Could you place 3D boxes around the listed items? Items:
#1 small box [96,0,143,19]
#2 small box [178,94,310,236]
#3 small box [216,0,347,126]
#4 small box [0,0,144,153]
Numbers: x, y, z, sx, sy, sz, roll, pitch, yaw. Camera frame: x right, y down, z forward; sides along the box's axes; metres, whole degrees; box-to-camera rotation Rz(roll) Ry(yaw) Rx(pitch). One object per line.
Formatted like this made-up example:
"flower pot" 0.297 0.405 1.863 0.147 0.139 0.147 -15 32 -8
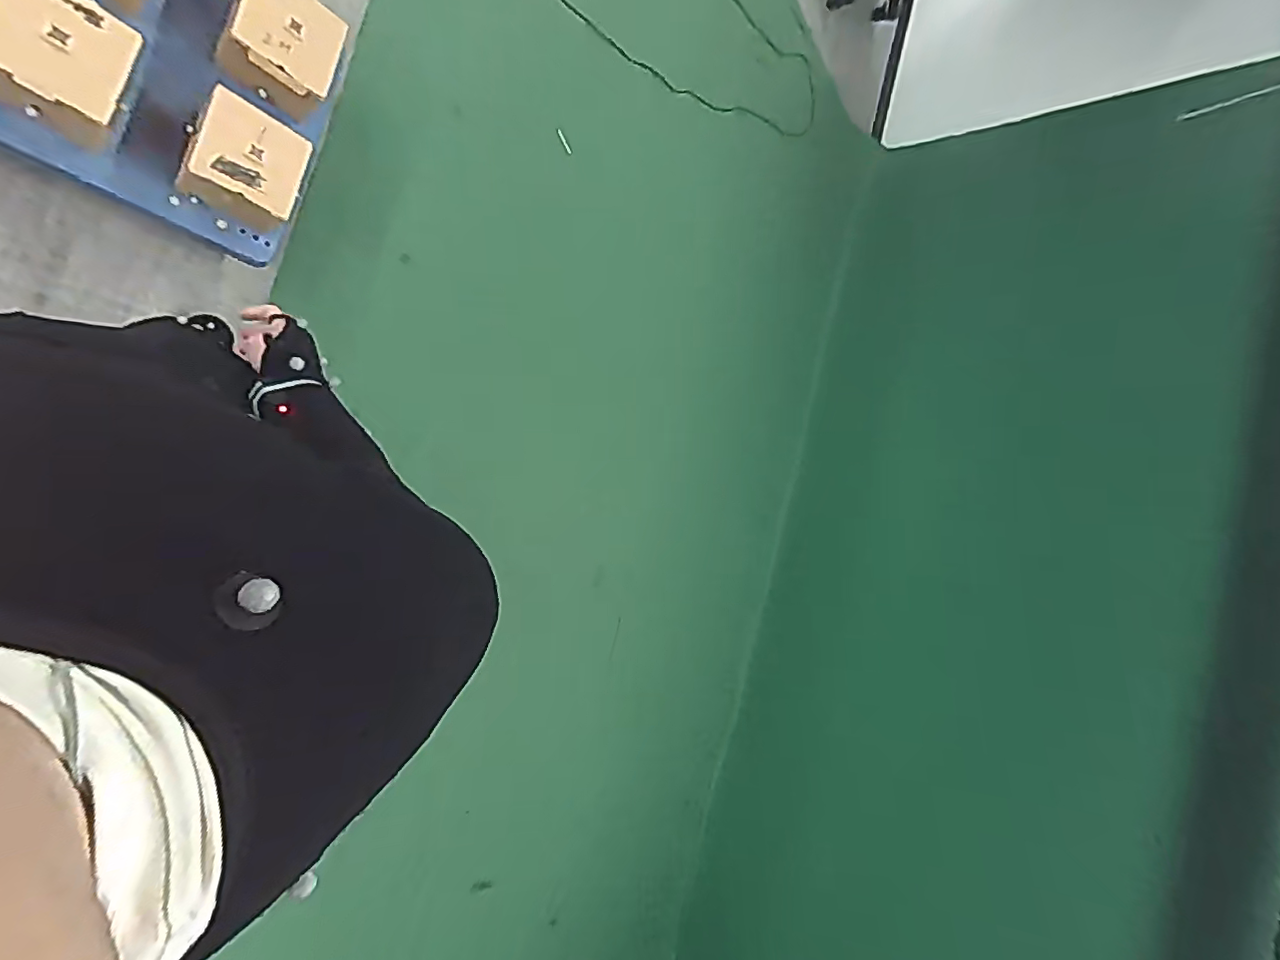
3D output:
"small box" -0.924 -0.950 0.914 0.168 0.176 0.179 21 83 -49
"small box" -0.820 -0.633 1.115 0.168 0.176 0.179 20 82 -49
"small box" -0.746 -0.888 1.121 0.168 0.176 0.179 20 83 -47
"small box" -0.975 -0.691 0.904 0.168 0.176 0.179 22 81 -49
